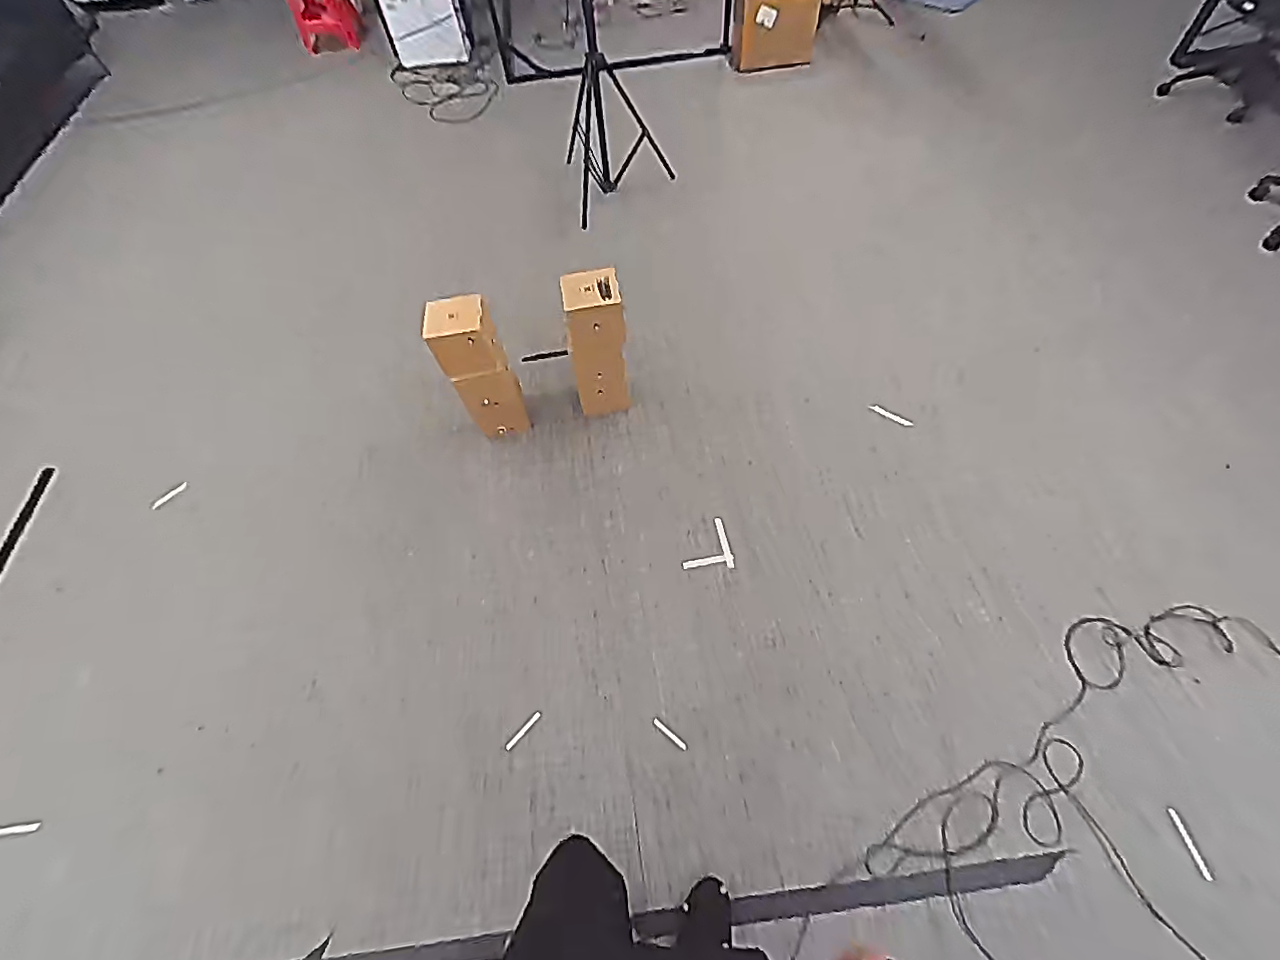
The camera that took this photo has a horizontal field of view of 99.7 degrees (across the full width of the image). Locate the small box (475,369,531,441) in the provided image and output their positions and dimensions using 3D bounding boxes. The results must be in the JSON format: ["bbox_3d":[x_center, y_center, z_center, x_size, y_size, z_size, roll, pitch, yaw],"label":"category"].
[{"bbox_3d":[-0.506,-0.272,1.974,0.168,0.176,0.179,-14,59,-4],"label":"small box"}]

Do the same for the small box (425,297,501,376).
[{"bbox_3d":[-0.549,-0.444,1.699,0.179,0.176,0.168,-8,58,0],"label":"small box"}]

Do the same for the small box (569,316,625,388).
[{"bbox_3d":[-0.144,-0.437,1.853,0.179,0.176,0.168,-6,58,-1],"label":"small box"}]

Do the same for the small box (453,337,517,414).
[{"bbox_3d":[-0.524,-0.352,1.831,0.168,0.176,0.179,-13,59,-2],"label":"small box"}]

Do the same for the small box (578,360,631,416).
[{"bbox_3d":[-0.133,-0.350,1.992,0.179,0.176,0.168,-7,59,-1],"label":"small box"}]
